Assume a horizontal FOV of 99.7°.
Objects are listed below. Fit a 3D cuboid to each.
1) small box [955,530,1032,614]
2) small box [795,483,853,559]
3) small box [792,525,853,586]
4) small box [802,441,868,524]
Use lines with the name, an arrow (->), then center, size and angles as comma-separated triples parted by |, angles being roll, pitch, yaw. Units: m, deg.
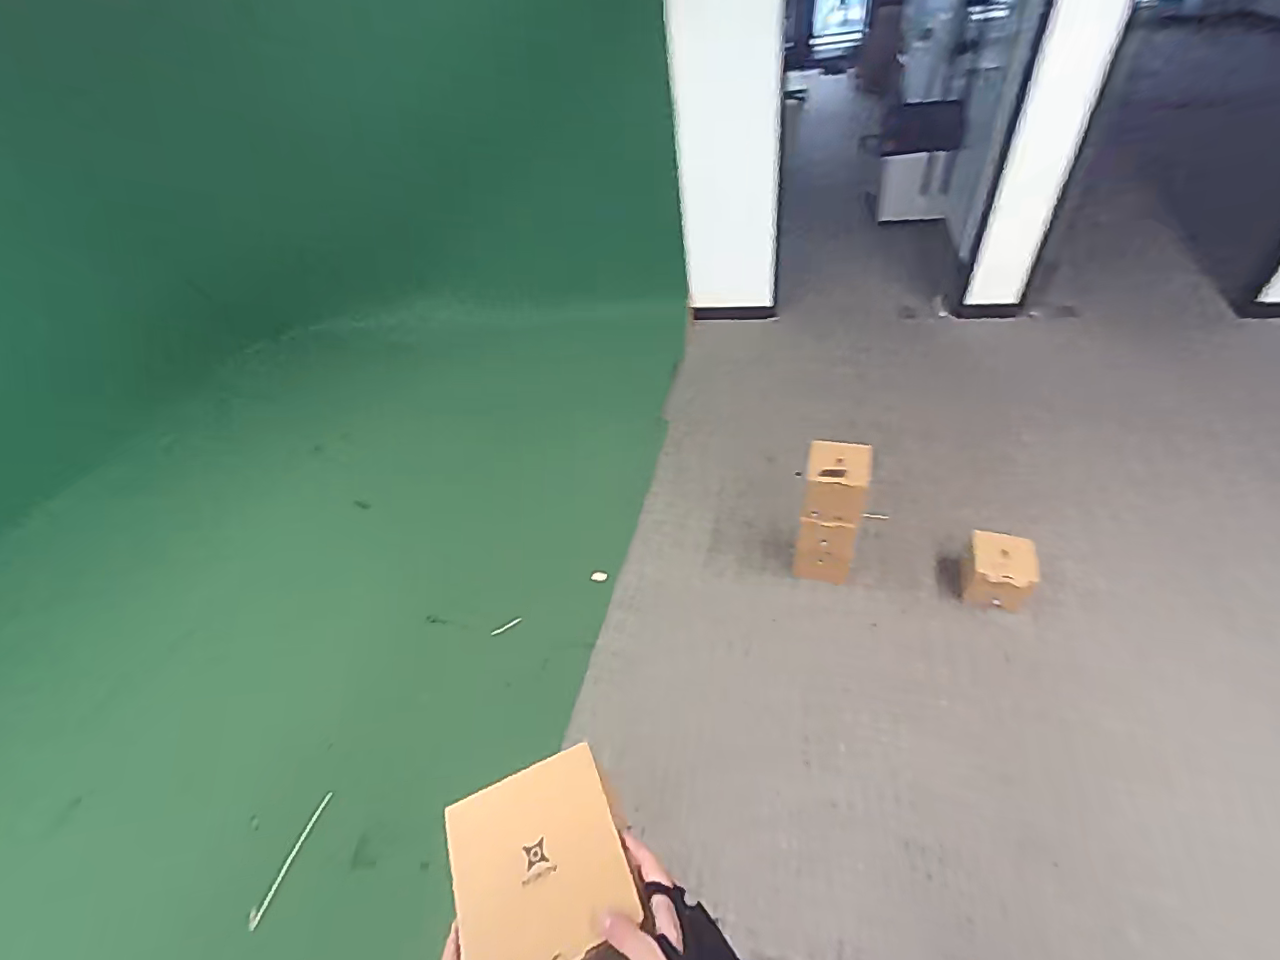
small box -> 1.107, 0.289, 1.699 | 0.168, 0.176, 0.179 | 13, 51, 25
small box -> 0.592, 0.128, 1.730 | 0.168, 0.176, 0.179 | 9, 50, 19
small box -> 0.620, 0.239, 1.847 | 0.179, 0.176, 0.168 | 9, 49, 19
small box -> 0.580, 0.010, 1.616 | 0.168, 0.176, 0.179 | 8, 48, 18
